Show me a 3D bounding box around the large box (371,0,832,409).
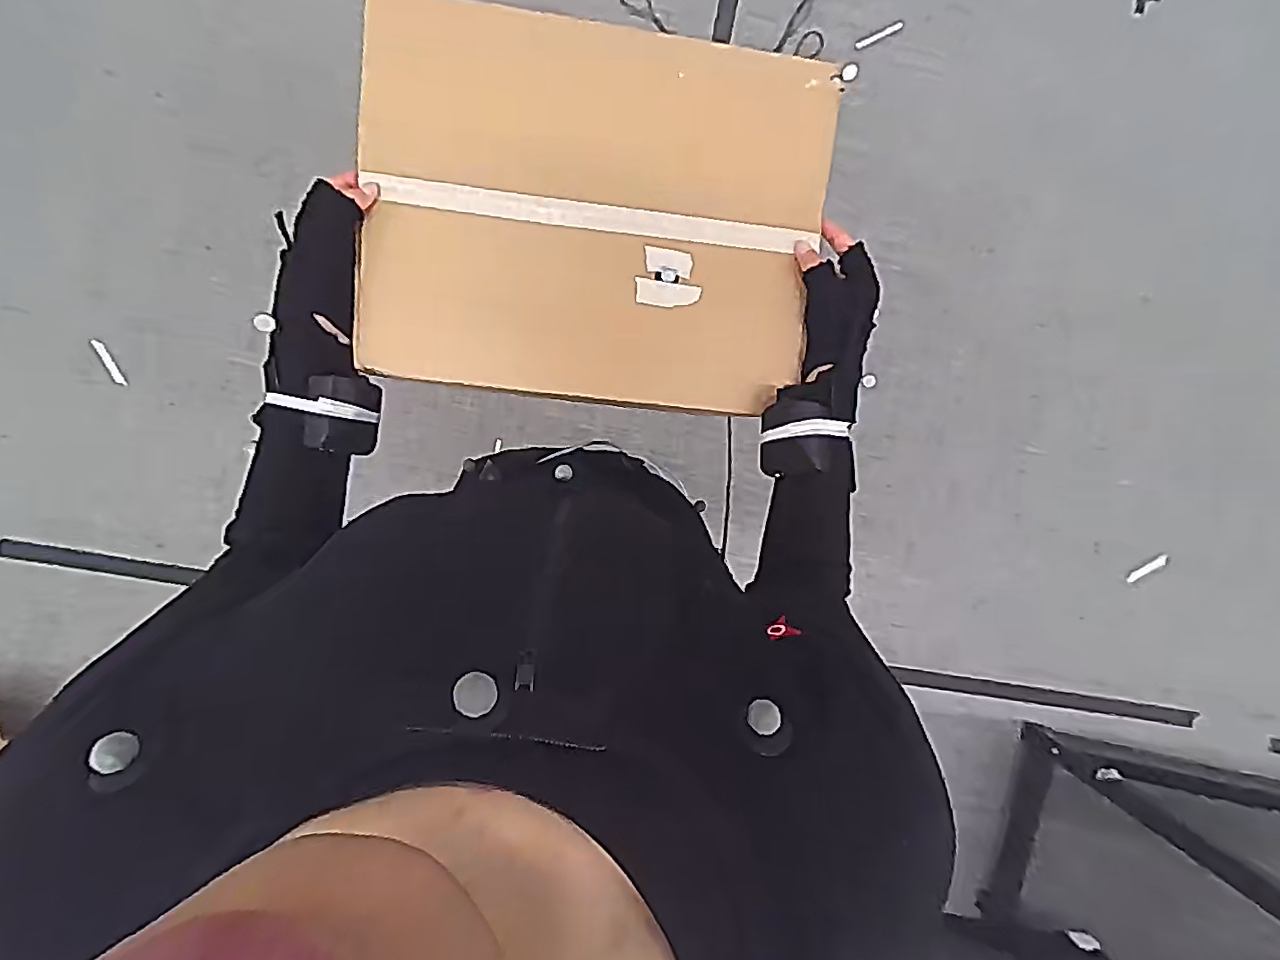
[{"bbox_3d":[-0.050,-0.255,0.636,0.408,0.320,0.320,5,98,-7],"label":"large box"}]
